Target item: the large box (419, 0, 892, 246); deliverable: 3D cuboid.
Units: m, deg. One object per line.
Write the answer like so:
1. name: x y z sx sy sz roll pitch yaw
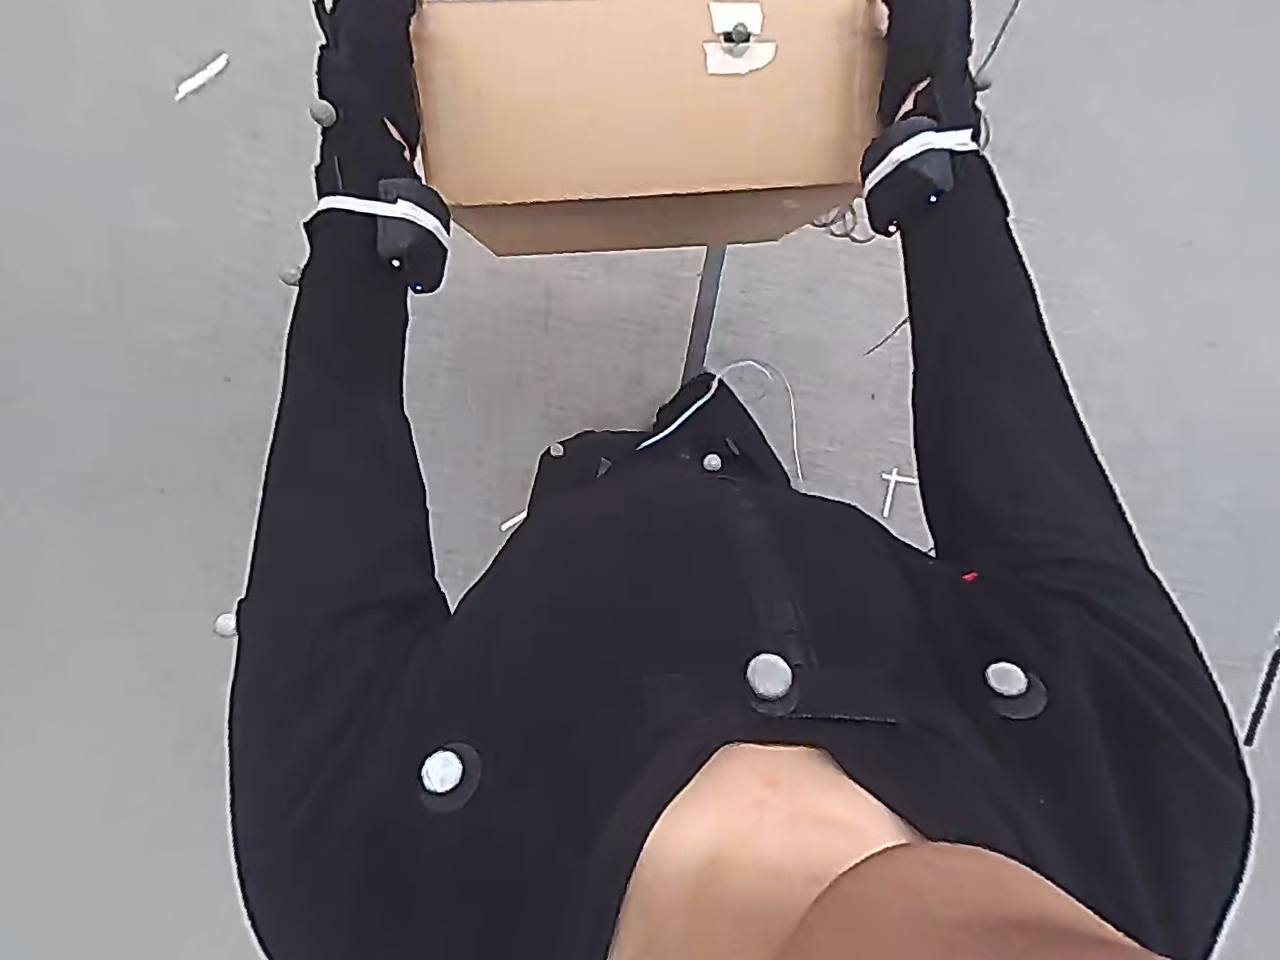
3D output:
1. large box: 0.003 -0.453 0.586 0.408 0.320 0.320 -4 106 -4
